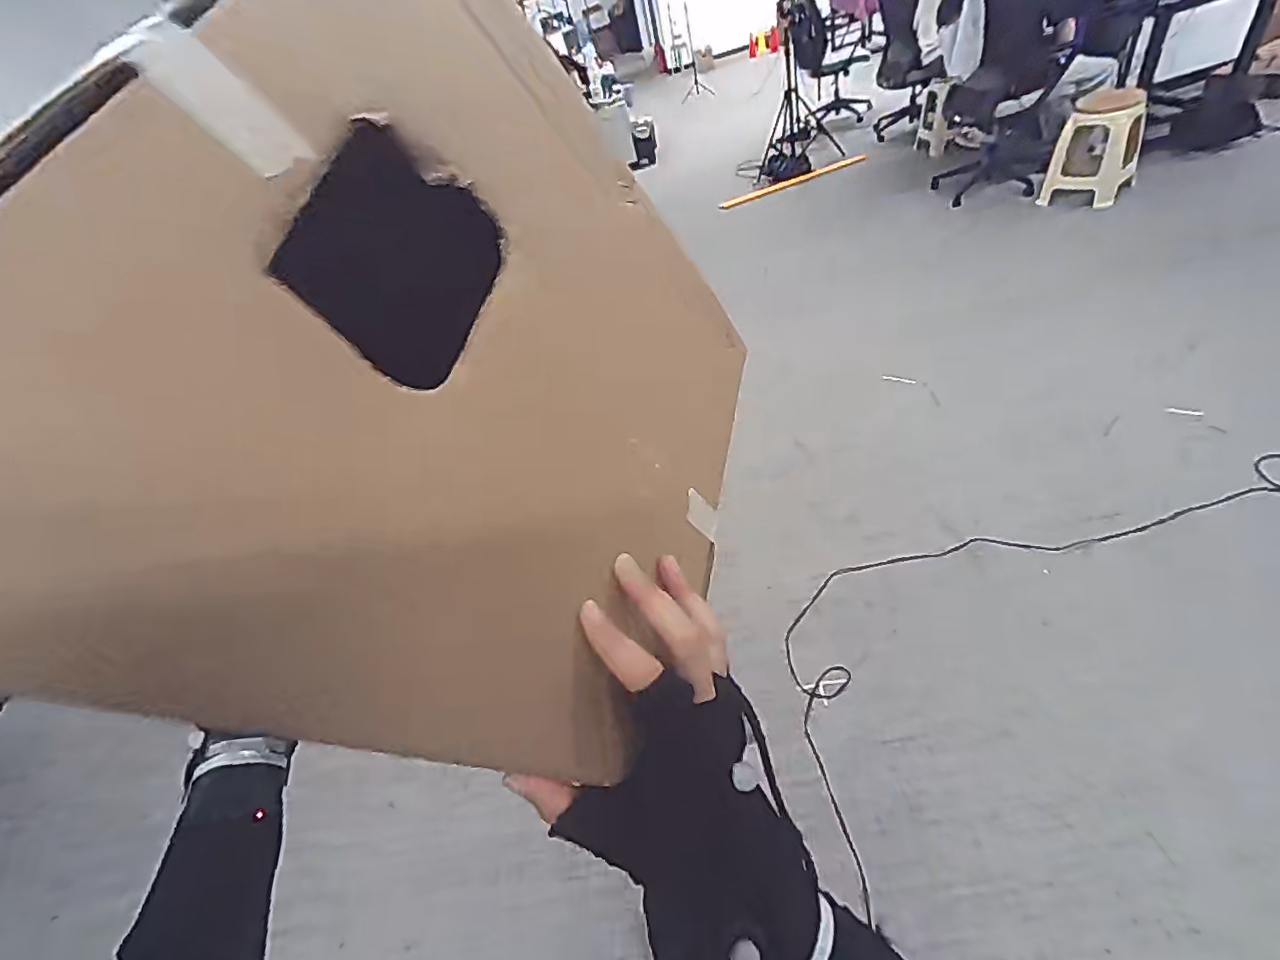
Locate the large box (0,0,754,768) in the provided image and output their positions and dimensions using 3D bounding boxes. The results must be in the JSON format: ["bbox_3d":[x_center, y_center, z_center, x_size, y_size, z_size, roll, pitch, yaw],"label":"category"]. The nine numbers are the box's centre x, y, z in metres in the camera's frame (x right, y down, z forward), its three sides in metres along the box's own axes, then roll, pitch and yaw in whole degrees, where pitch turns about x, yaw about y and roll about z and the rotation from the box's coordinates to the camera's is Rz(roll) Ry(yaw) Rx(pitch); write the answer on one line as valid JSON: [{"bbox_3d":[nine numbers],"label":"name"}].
[{"bbox_3d":[-0.182,-0.023,0.375,0.408,0.320,0.320,-6,59,36],"label":"large box"}]
